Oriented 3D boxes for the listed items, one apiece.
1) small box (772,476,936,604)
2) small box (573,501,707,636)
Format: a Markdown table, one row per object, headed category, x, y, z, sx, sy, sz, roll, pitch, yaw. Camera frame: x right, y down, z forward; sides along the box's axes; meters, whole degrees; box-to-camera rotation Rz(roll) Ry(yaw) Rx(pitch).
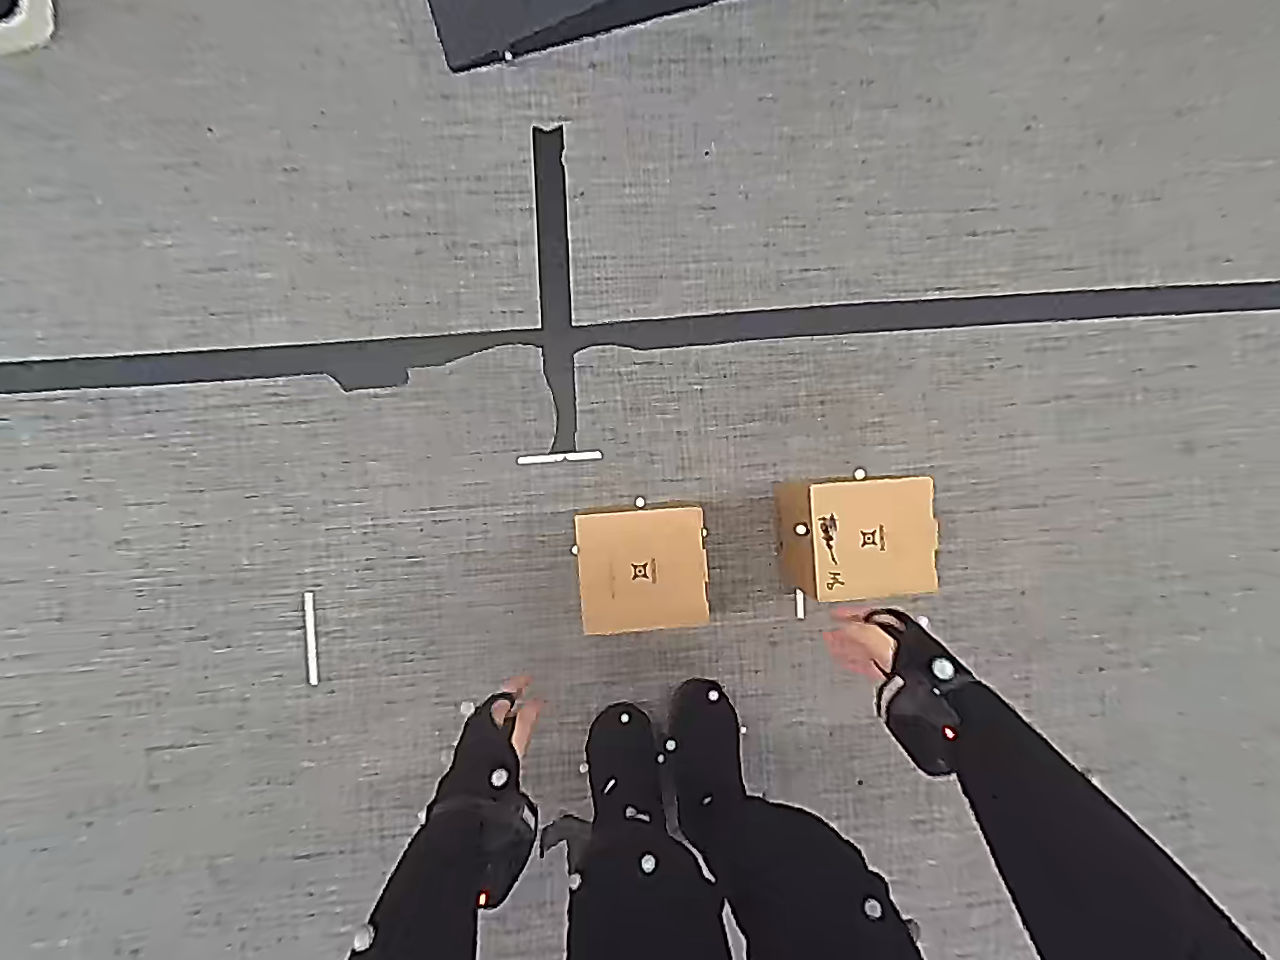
| category | x | y | z | sx | sy | sz | roll | pitch | yaw |
| --- | --- | --- | --- | --- | --- | --- | --- | --- | --- |
| small box | 0.313 | 0.081 | 0.818 | 0.179 | 0.176 | 0.168 | -4 | 91 | -4 |
| small box | -0.004 | 0.120 | 0.802 | 0.179 | 0.176 | 0.168 | -4 | 91 | -3 |
